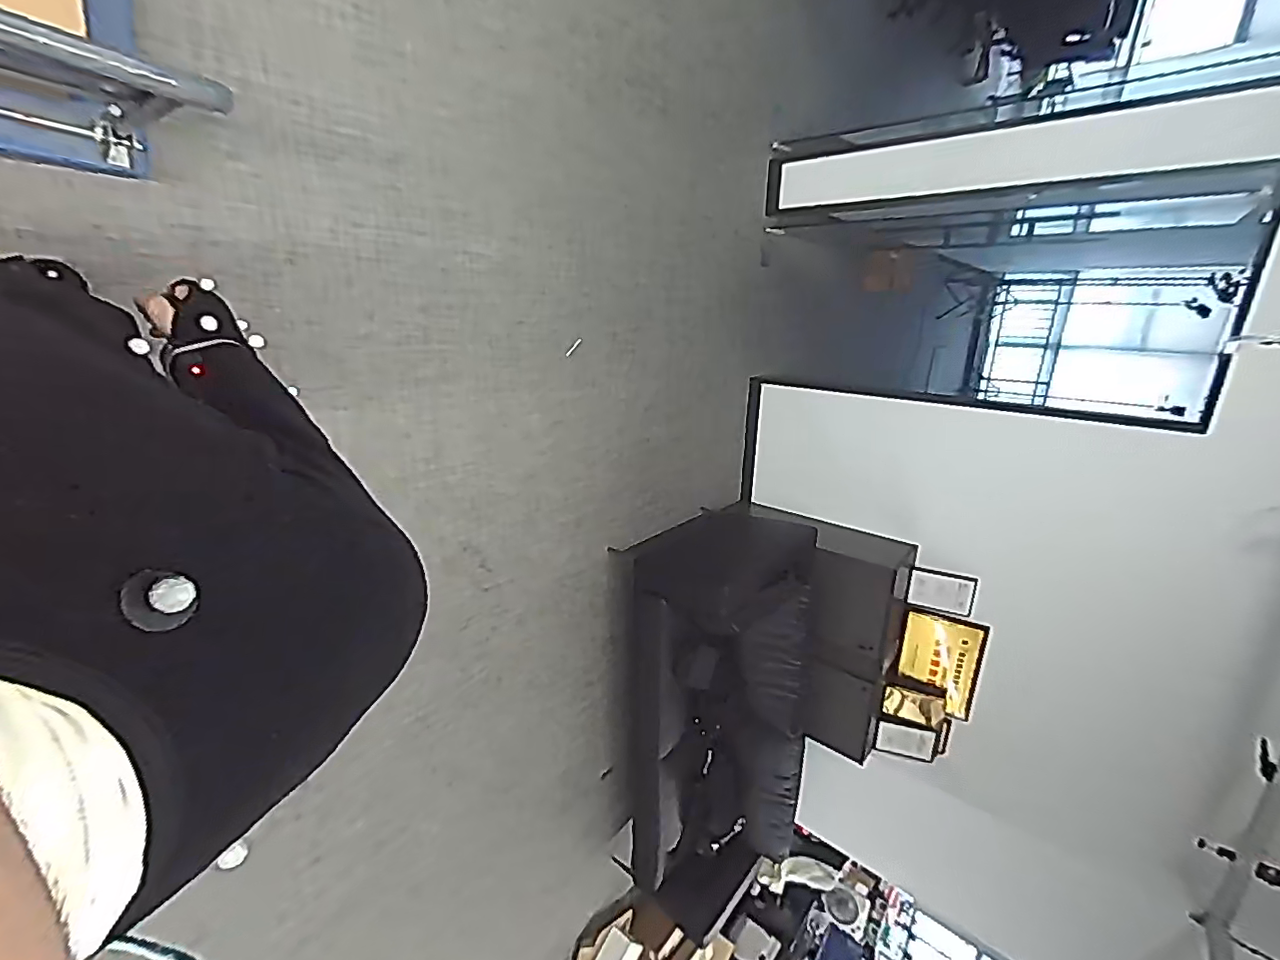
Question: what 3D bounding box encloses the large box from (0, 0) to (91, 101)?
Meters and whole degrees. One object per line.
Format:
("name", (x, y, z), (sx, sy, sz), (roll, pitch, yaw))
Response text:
("large box", (-0.980, -0.798, 0.697), (0.320, 0.320, 0.408), (-13, 111, -50))
